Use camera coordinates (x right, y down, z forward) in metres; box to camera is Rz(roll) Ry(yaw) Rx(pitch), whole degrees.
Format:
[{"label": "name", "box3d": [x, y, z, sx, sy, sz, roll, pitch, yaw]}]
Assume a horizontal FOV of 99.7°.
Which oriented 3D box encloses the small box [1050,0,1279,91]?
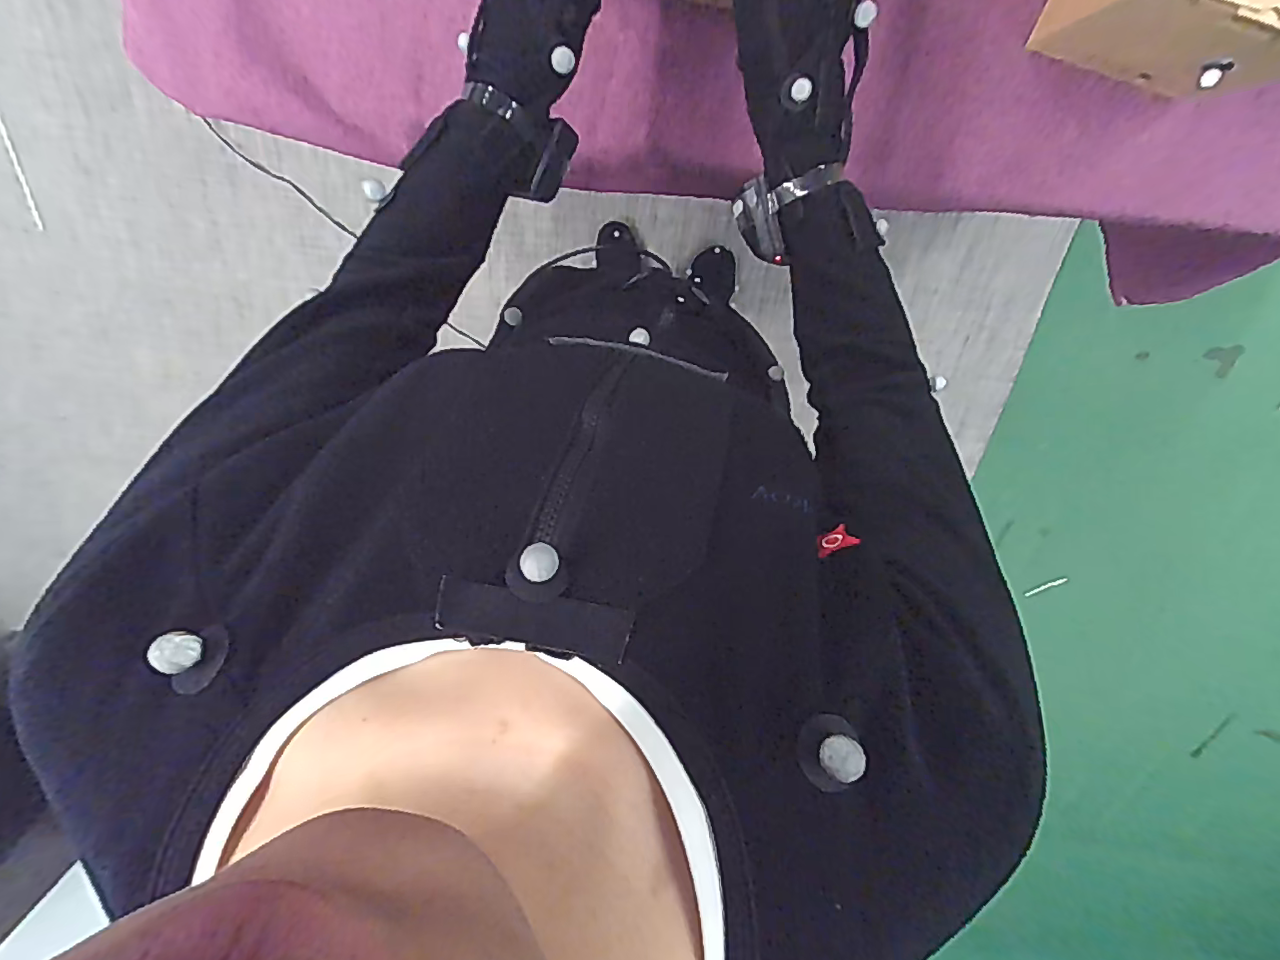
[{"label": "small box", "box3d": [0.457, -0.421, 0.399, 0.168, 0.176, 0.179, 17, 117, -3]}]
